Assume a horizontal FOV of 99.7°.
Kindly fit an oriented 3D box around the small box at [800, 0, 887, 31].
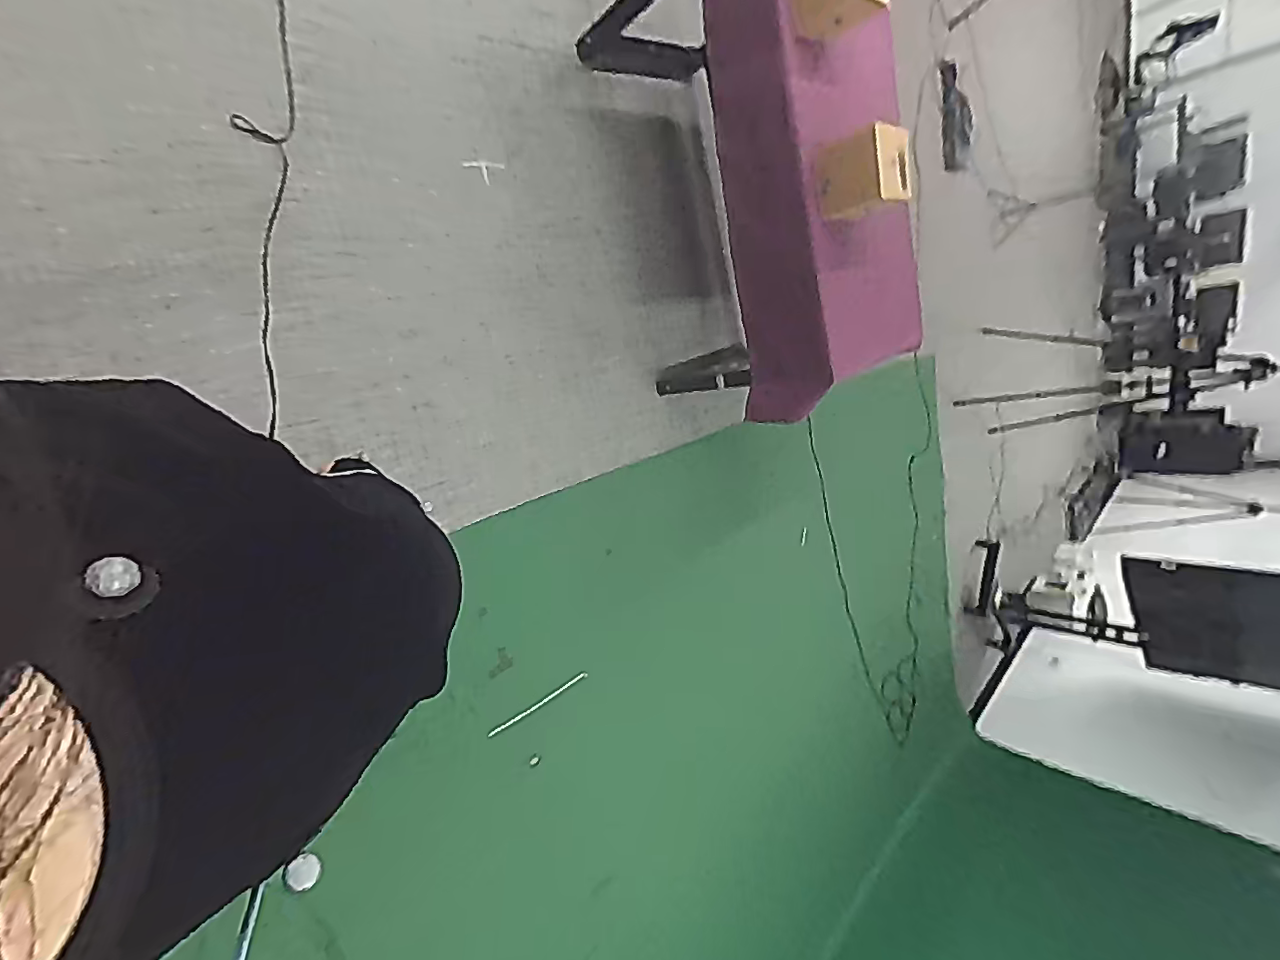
[{"bbox_3d":[0.474,-1.180,1.238,0.168,0.176,0.179,-24,108,-37],"label":"small box"}]
